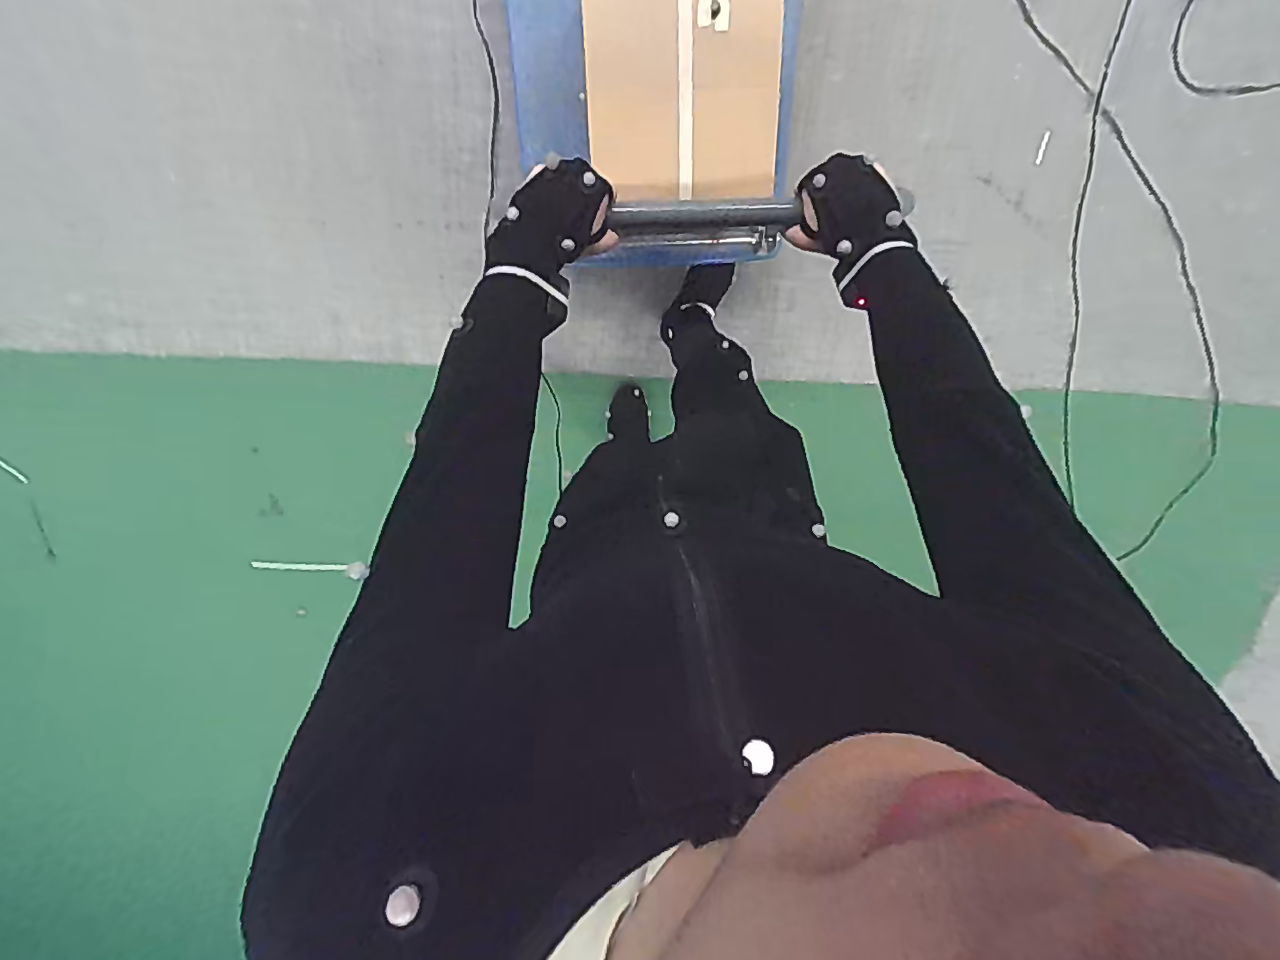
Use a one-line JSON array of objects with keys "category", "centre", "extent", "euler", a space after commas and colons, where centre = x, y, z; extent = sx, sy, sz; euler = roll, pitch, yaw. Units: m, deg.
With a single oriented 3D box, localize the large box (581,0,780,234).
[{"category": "large box", "centre": [0.063, -0.698, 1.010], "extent": [0.320, 0.320, 0.408], "euler": [-4, 110, -2]}]
